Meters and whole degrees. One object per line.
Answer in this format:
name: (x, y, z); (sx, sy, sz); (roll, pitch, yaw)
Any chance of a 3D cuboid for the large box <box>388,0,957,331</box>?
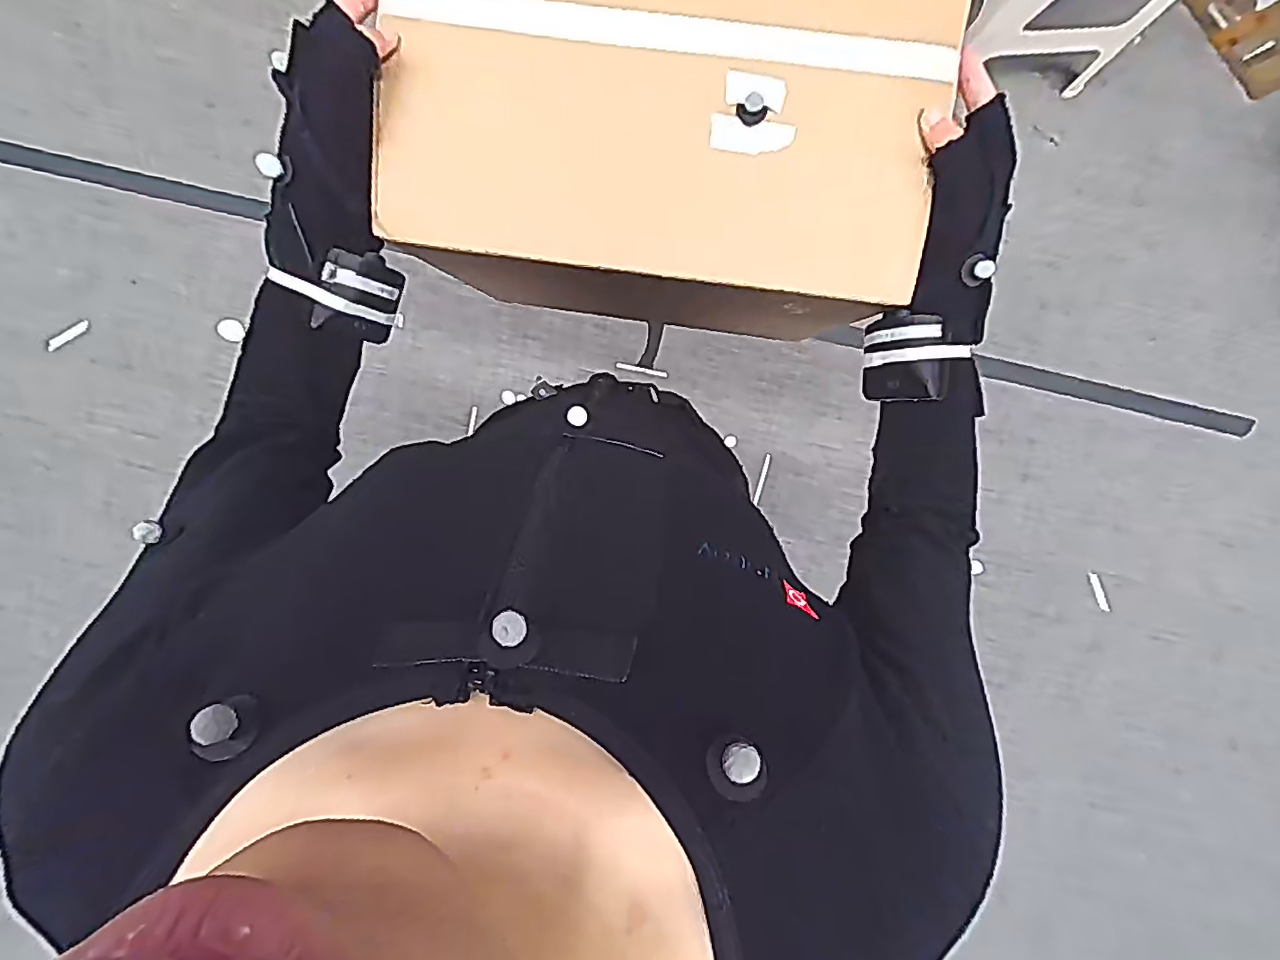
large box: (0.023, -0.341, 0.534); (0.408, 0.320, 0.320); (7, 100, 0)
